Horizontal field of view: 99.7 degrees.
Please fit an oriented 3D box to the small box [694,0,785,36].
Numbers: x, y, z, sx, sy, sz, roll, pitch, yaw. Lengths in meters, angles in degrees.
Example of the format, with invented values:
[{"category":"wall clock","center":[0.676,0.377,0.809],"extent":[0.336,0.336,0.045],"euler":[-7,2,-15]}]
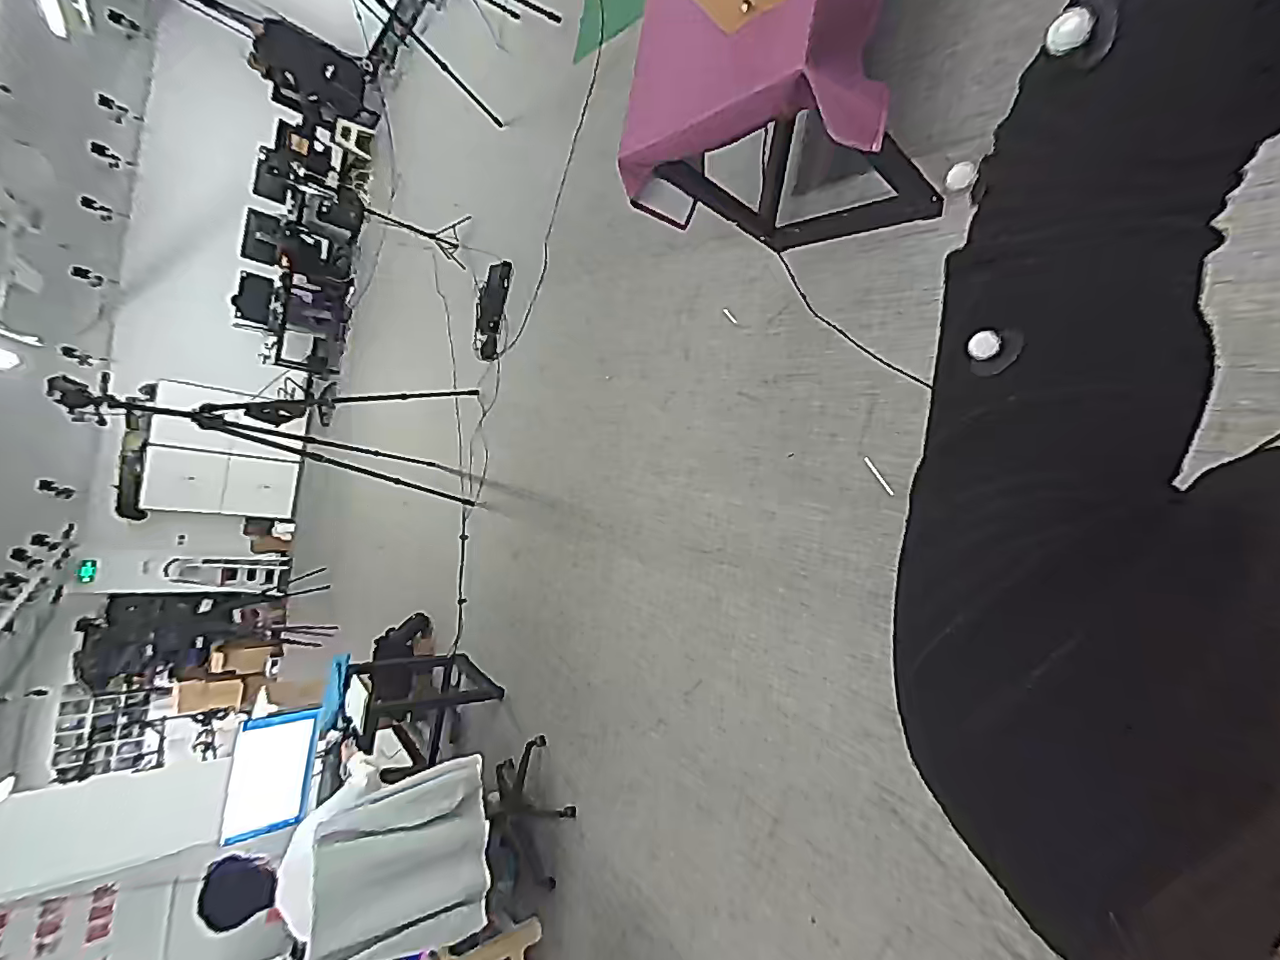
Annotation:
[{"category":"small box","center":[0.220,-1.090,1.122],"extent":[0.179,0.176,0.168],"euler":[13,92,49]}]
